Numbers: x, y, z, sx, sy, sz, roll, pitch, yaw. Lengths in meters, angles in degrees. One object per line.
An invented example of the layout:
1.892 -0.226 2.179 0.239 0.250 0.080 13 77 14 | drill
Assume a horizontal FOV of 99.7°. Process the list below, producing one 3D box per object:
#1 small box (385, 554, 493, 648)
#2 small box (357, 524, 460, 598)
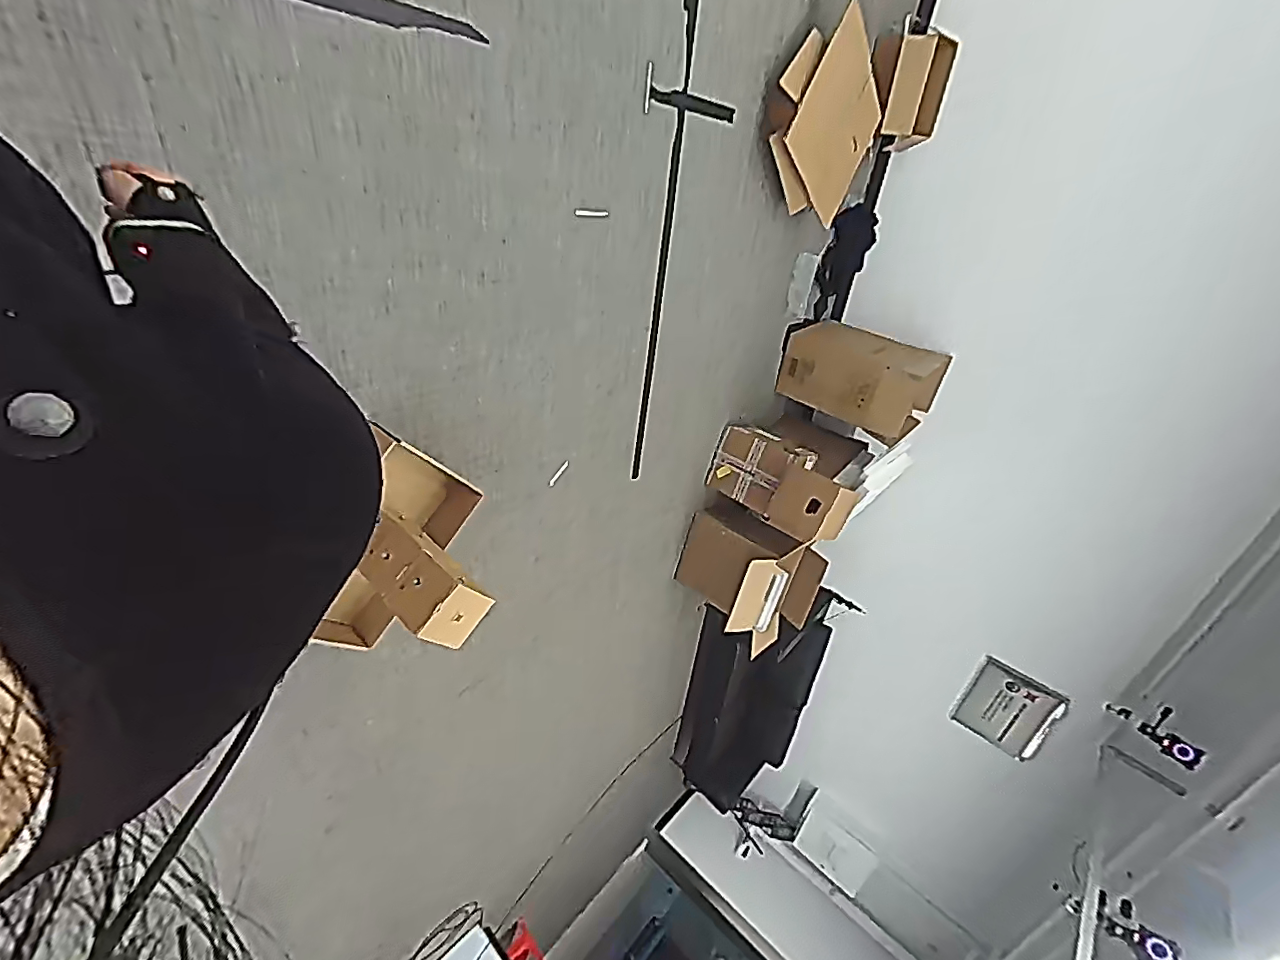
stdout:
-0.544 0.325 1.464 0.168 0.176 0.179 -53 148 -10 | small box
-0.664 0.248 1.544 0.168 0.176 0.179 -53 147 -11 | small box
